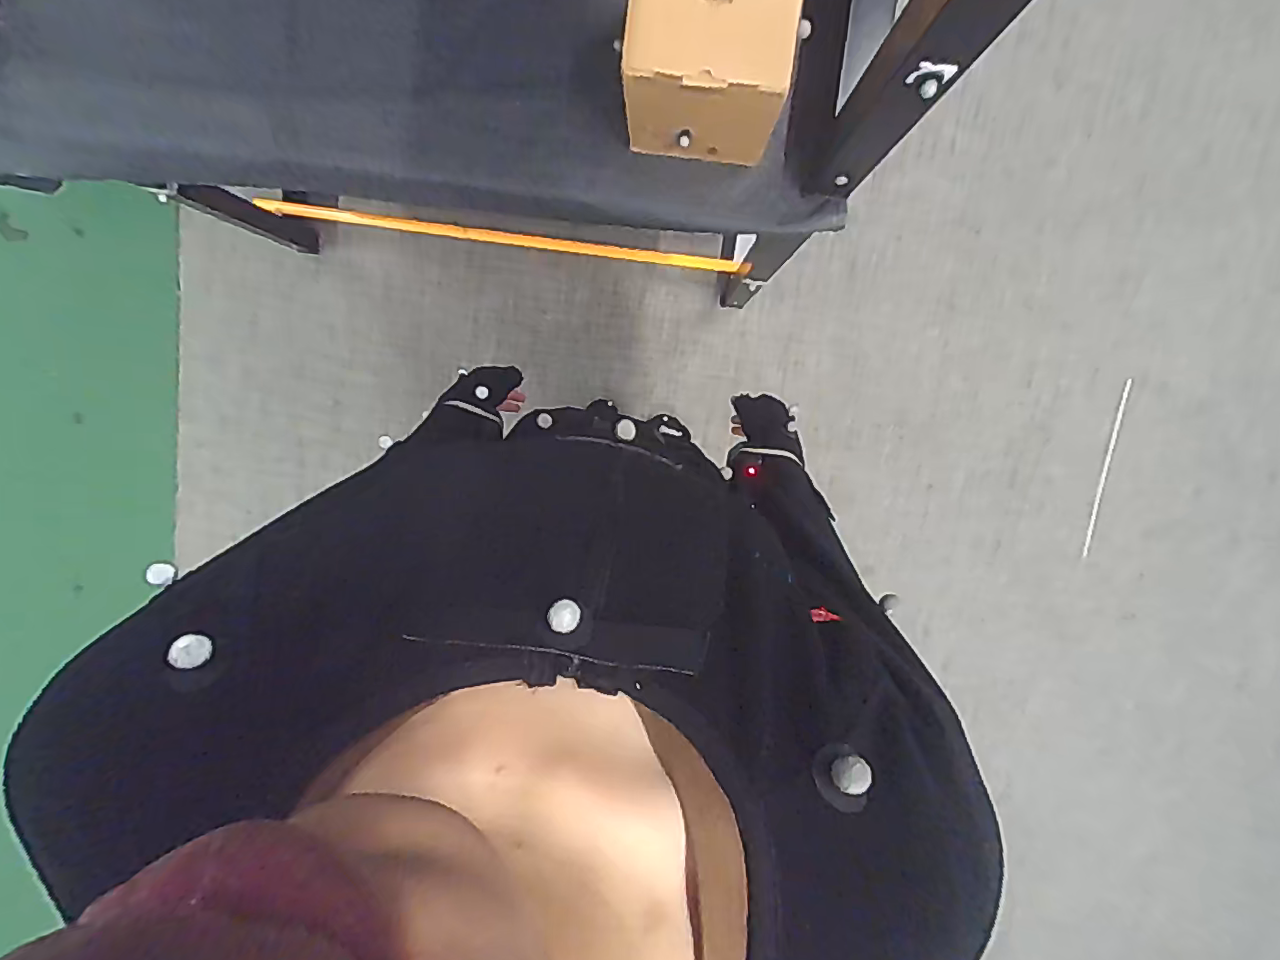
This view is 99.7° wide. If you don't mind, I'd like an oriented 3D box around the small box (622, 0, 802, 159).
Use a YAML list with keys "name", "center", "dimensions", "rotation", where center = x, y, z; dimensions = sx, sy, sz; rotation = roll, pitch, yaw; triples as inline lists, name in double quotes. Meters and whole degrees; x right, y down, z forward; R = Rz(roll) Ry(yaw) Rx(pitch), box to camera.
- name: "small box"
  center: [0.075, -0.484, 0.584]
  dimensions: [0.168, 0.176, 0.179]
  rotation: [7, 99, 1]
